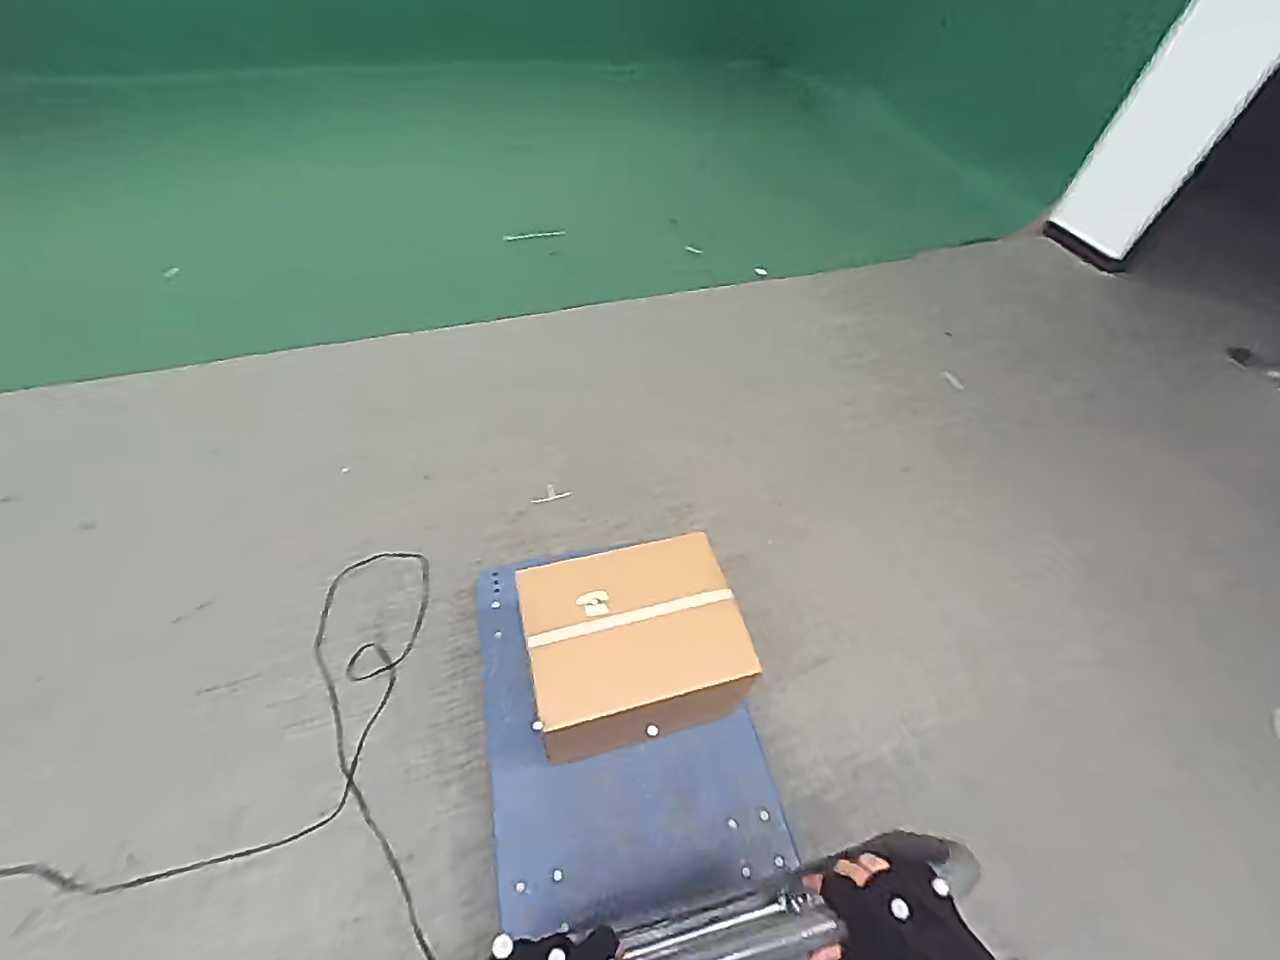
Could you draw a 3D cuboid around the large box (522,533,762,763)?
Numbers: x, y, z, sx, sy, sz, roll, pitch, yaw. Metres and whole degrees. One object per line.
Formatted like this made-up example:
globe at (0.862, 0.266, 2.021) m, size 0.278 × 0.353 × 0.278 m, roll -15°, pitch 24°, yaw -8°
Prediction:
large box at (-0.012, 0.358, 1.151) m, size 0.408 × 0.320 × 0.320 m, roll -11°, pitch 53°, yaw -12°
